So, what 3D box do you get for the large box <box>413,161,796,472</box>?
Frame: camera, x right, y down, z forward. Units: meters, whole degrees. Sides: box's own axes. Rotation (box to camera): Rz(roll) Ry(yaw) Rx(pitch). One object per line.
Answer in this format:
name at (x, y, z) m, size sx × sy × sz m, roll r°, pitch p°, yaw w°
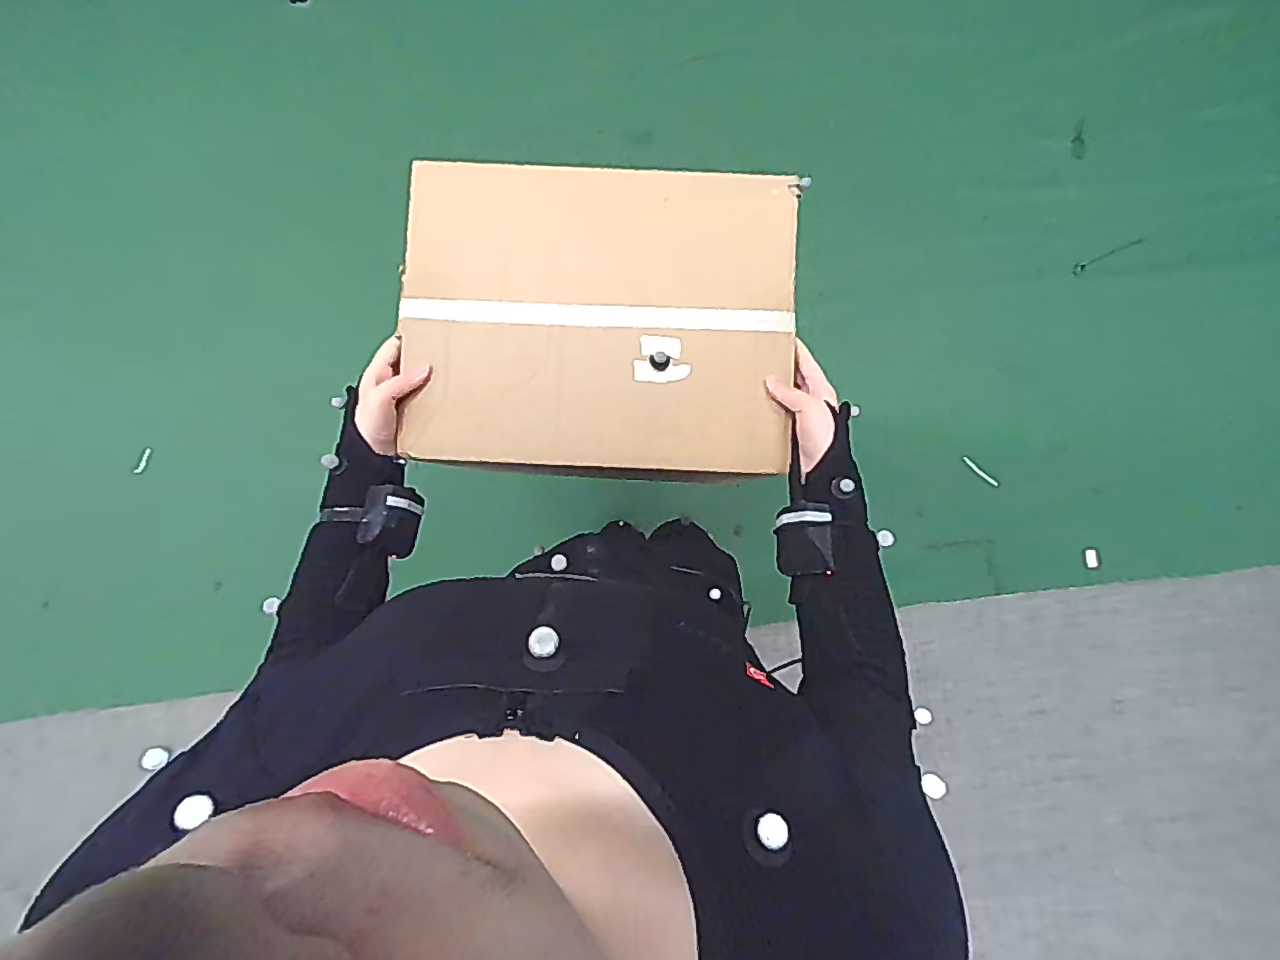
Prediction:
large box at (-0.039, -0.174, 0.715) m, size 0.408 × 0.320 × 0.320 m, roll 2°, pitch 89°, yaw -1°
